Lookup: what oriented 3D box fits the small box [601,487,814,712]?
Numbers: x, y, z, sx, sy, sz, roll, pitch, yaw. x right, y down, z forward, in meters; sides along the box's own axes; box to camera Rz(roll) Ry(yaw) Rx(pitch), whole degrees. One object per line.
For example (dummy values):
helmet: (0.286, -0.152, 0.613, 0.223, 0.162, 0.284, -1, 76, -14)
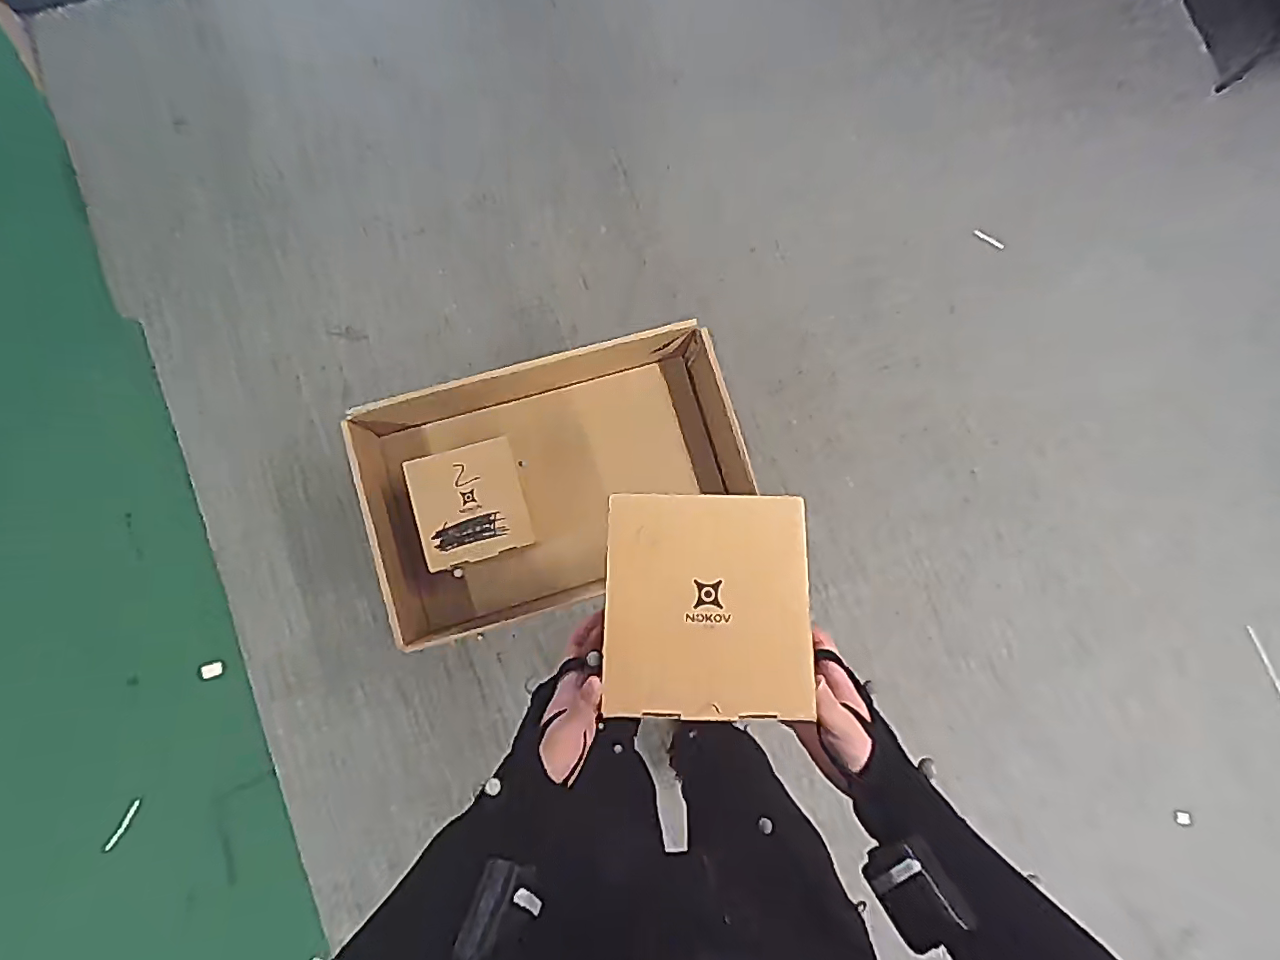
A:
small box: (0.052, 0.111, 0.508, 0.168, 0.176, 0.179, 0, 76, 0)
